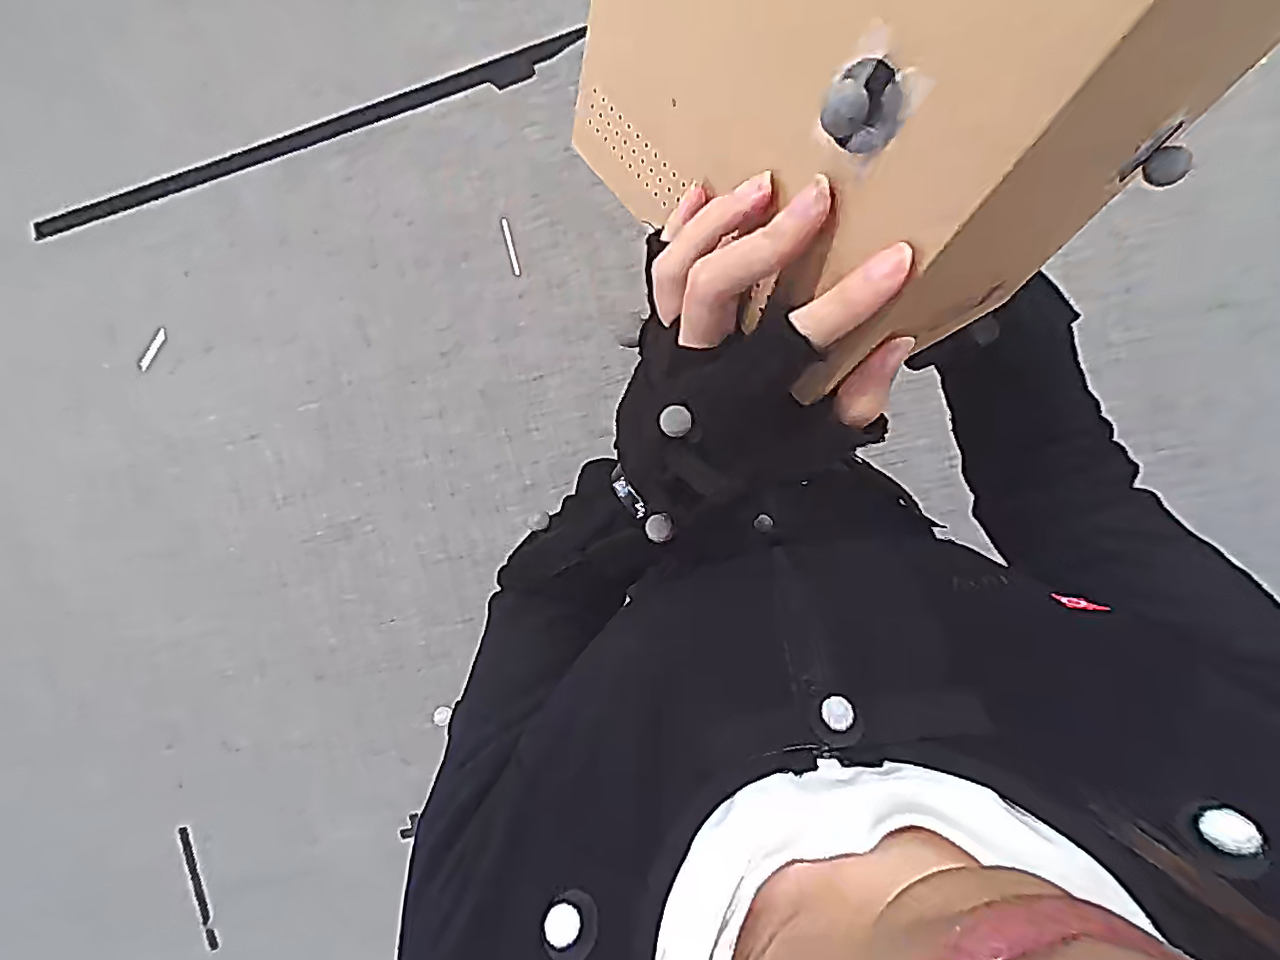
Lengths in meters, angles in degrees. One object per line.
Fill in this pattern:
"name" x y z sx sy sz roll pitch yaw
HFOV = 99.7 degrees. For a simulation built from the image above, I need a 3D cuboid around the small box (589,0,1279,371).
"small box" 0.101 -0.166 0.212 0.168 0.176 0.179 -28 72 -29
